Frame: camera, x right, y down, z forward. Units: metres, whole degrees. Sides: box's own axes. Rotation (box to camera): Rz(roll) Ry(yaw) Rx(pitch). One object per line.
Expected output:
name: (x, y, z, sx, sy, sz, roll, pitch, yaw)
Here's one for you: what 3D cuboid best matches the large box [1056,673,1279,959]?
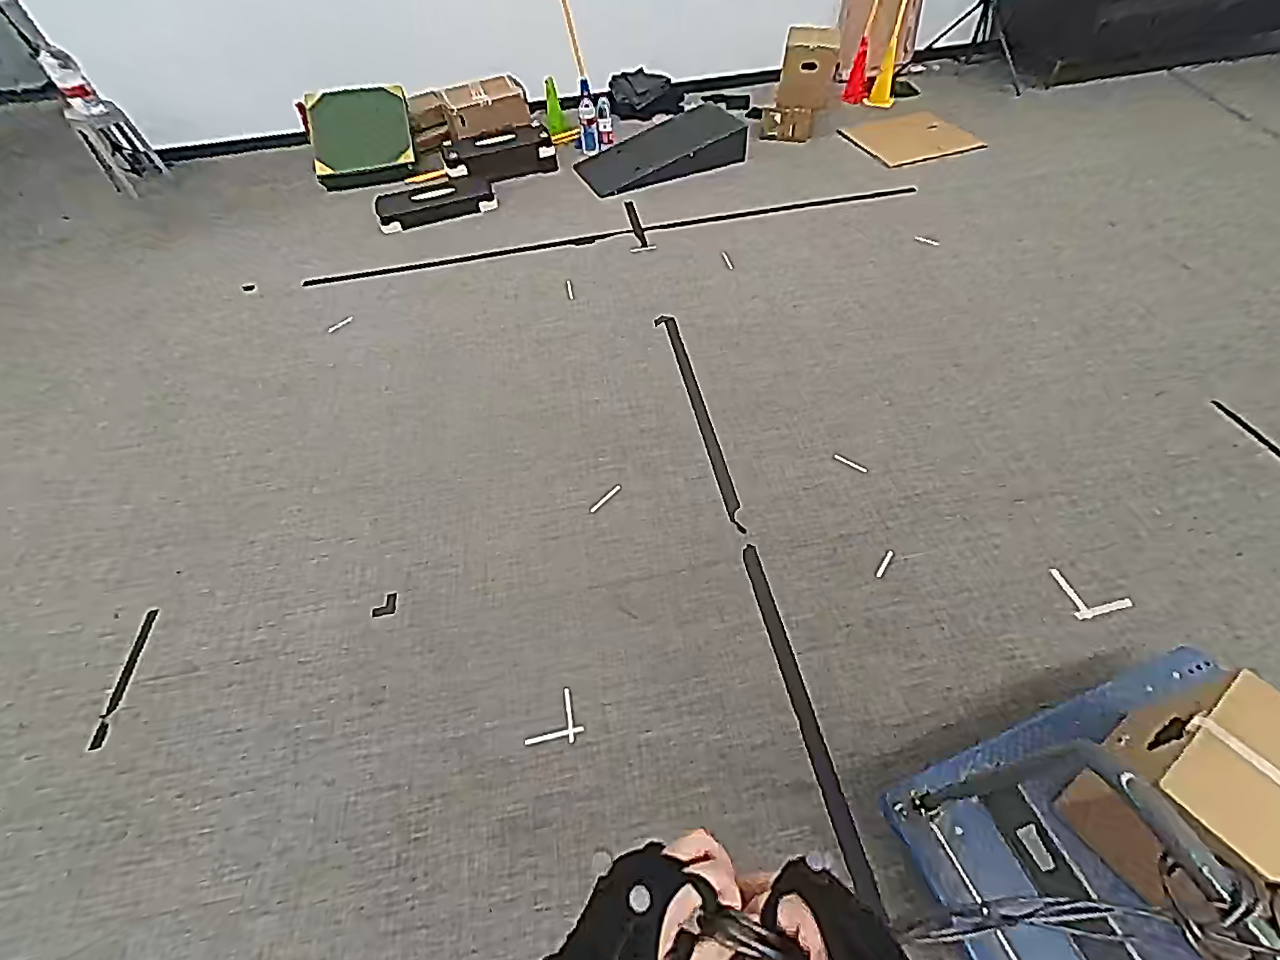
large box: (1.053, 0.619, 0.913, 0.320, 0.320, 0.408, -32, 58, -19)
